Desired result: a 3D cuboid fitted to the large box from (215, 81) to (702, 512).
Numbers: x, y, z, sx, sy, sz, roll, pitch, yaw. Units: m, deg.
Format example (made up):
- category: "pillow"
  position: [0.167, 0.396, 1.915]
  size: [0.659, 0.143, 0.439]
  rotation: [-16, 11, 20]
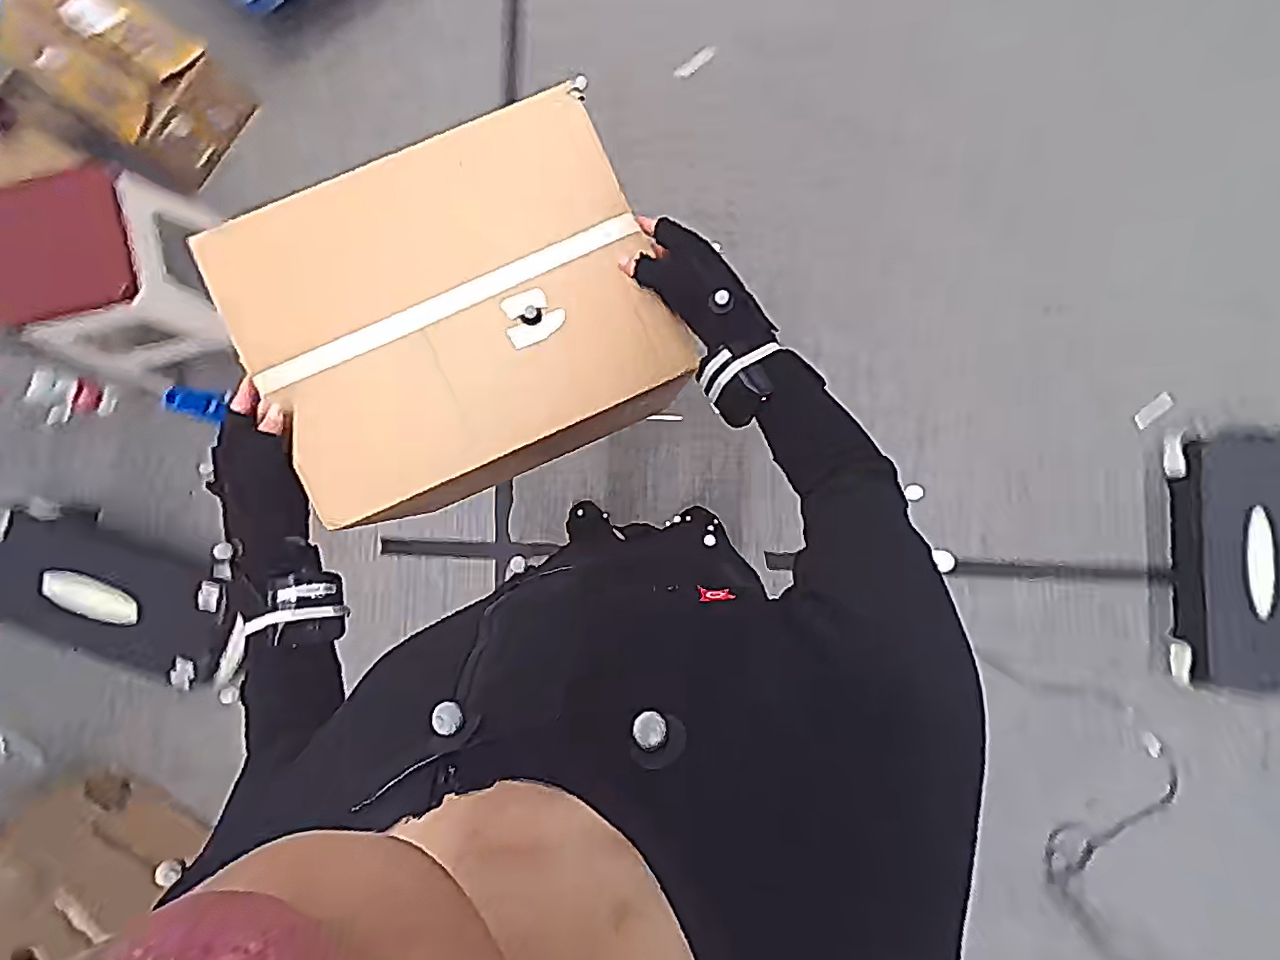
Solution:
- category: "large box"
  position: [-0.185, -0.184, 0.686]
  size: [0.408, 0.320, 0.320]
  rotation: [-24, 92, -4]
